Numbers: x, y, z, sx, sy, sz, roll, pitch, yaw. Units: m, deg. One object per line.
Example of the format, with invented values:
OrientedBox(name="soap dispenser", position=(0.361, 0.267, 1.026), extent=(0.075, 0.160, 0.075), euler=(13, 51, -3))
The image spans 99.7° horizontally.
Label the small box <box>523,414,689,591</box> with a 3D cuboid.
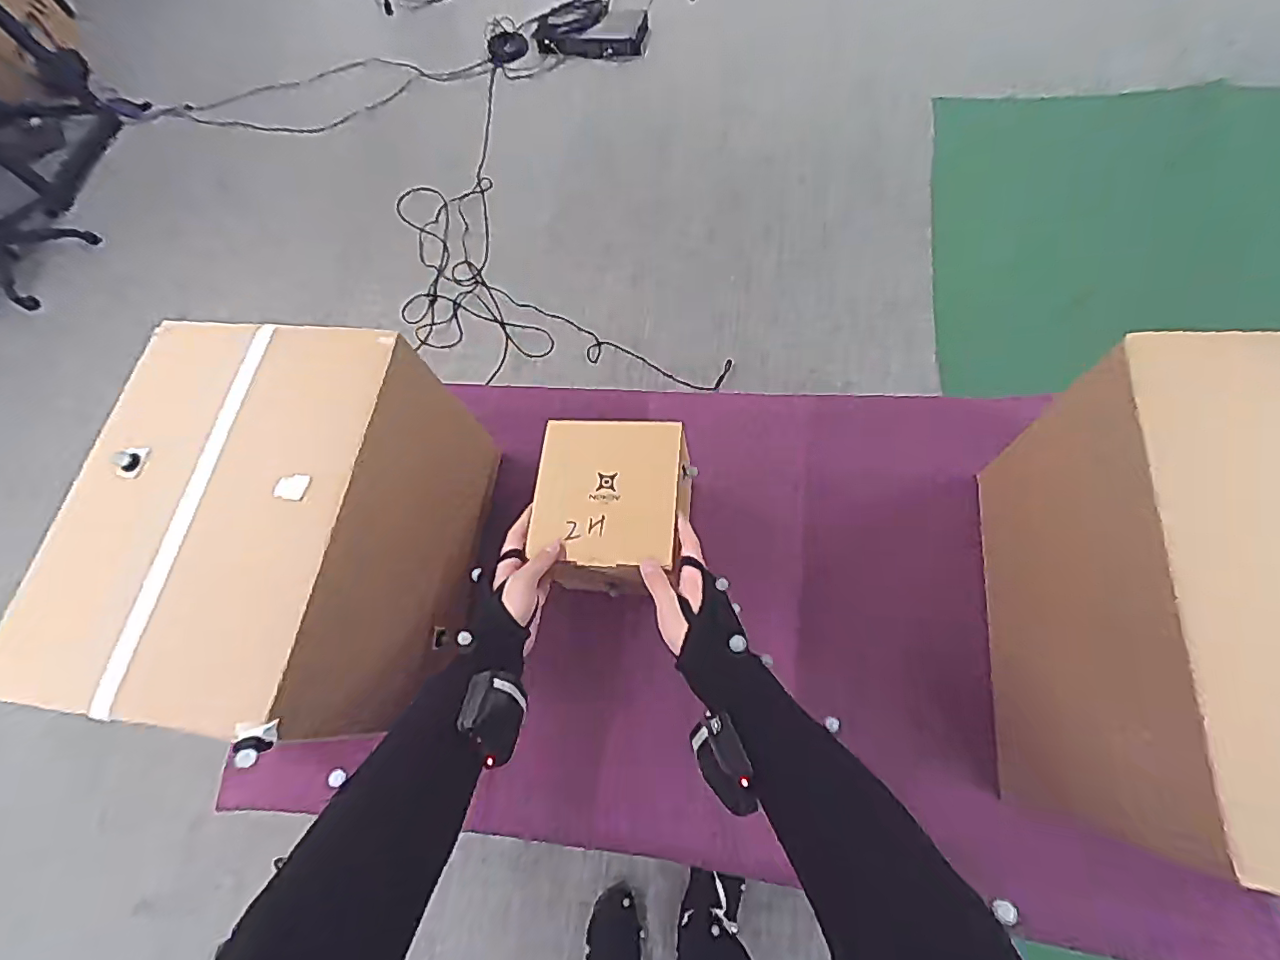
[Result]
OrientedBox(name="small box", position=(-0.028, 0.033, 0.683), extent=(0.168, 0.176, 0.179), euler=(2, 69, 11))
